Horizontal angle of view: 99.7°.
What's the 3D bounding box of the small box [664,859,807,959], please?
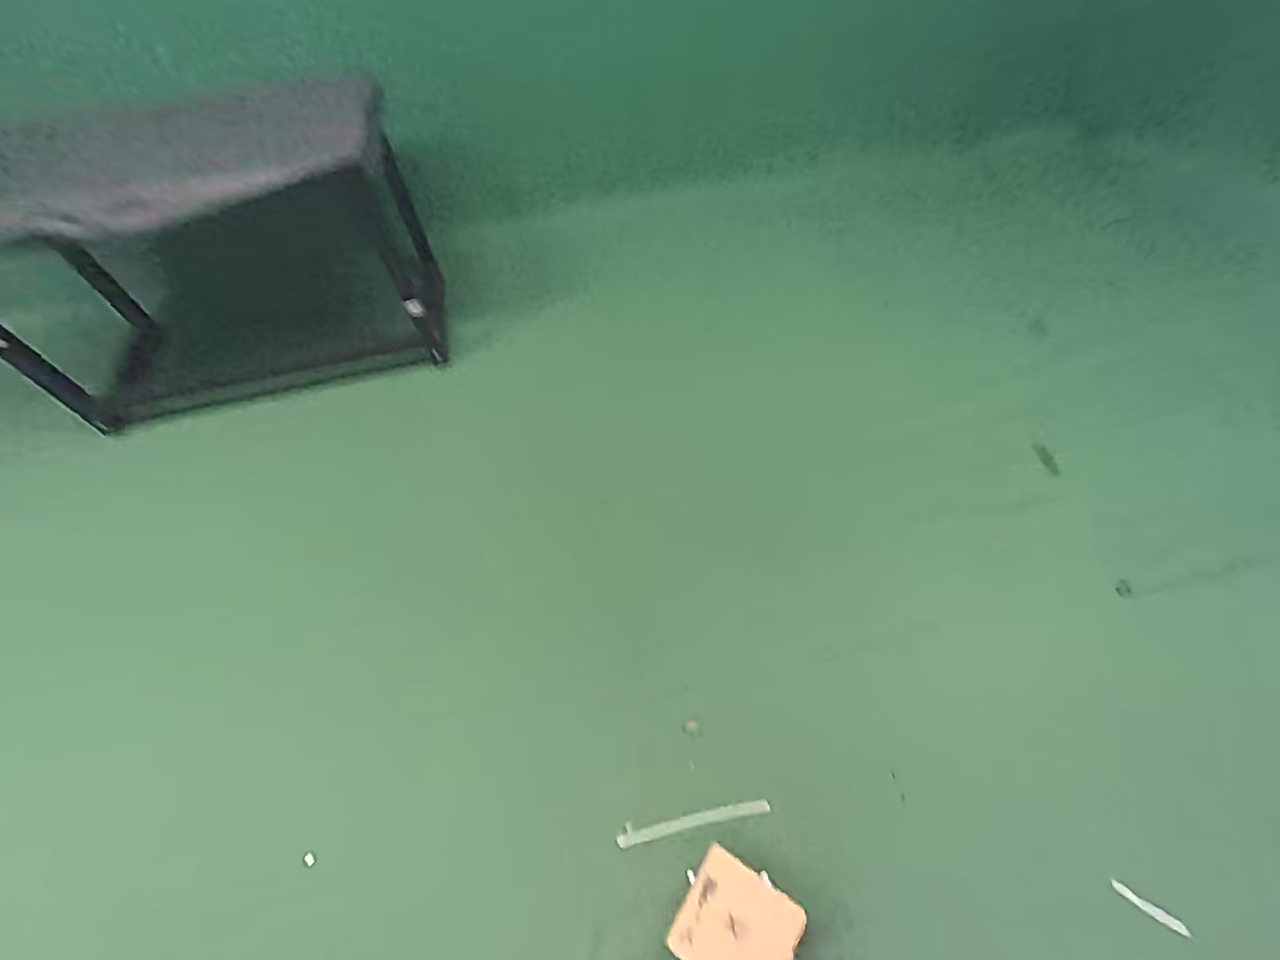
[{"bbox_3d":[0.158,0.788,0.927,0.179,0.176,0.168,27,59,22],"label":"small box"}]
